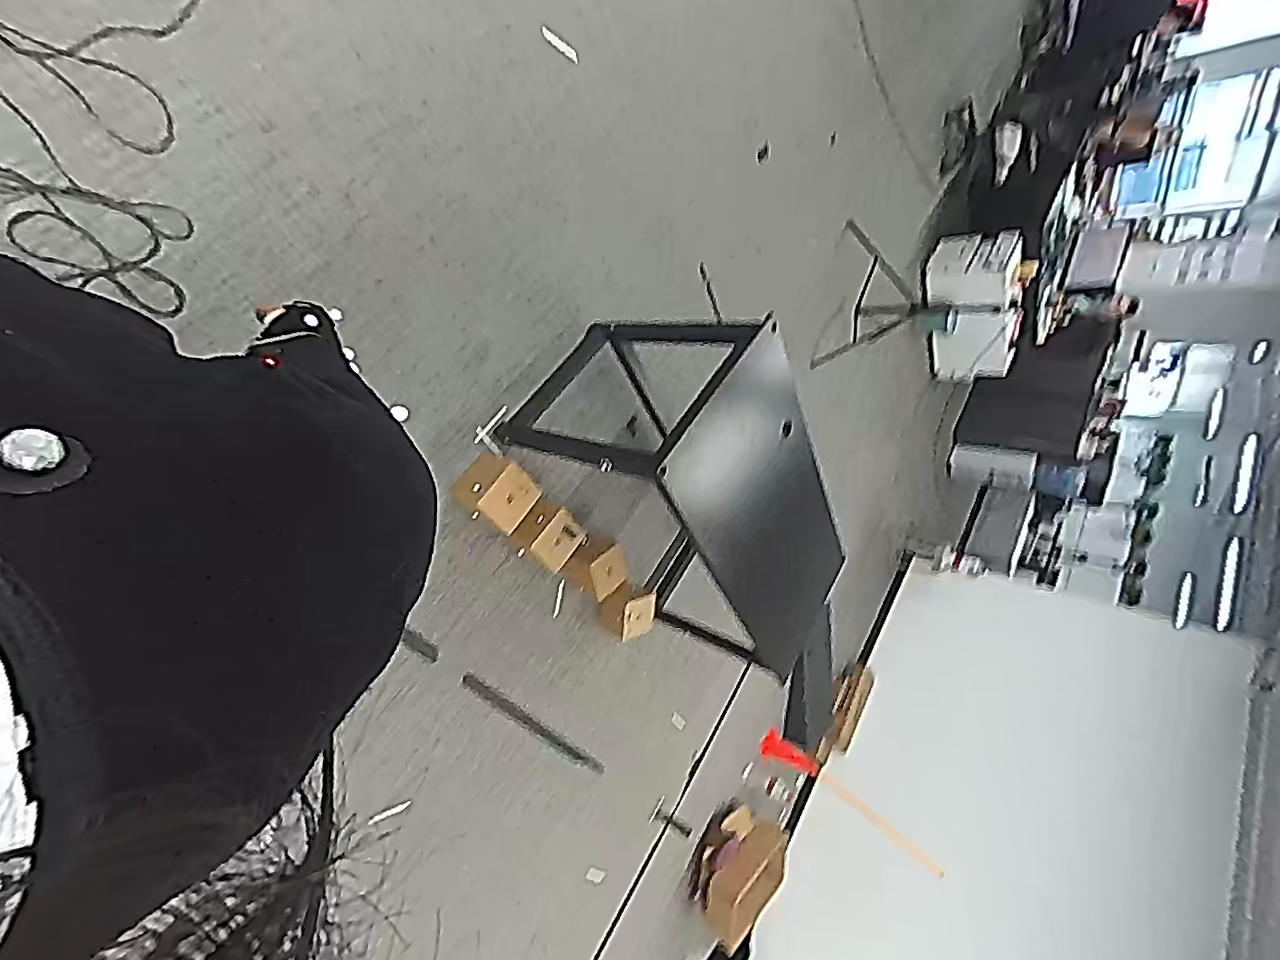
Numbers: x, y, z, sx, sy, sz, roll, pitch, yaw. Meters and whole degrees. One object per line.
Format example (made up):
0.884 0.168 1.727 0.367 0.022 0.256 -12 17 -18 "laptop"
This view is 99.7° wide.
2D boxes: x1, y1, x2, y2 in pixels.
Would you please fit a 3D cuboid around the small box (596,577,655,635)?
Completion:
-0.062 0.523 2.280 0.179 0.176 0.168 -8 106 -47 "small box"

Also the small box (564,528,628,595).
-0.177 0.311 2.098 0.168 0.176 0.179 -36 124 -37 "small box"

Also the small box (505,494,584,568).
-0.334 0.170 1.882 0.179 0.176 0.168 -53 134 -22 "small box"
